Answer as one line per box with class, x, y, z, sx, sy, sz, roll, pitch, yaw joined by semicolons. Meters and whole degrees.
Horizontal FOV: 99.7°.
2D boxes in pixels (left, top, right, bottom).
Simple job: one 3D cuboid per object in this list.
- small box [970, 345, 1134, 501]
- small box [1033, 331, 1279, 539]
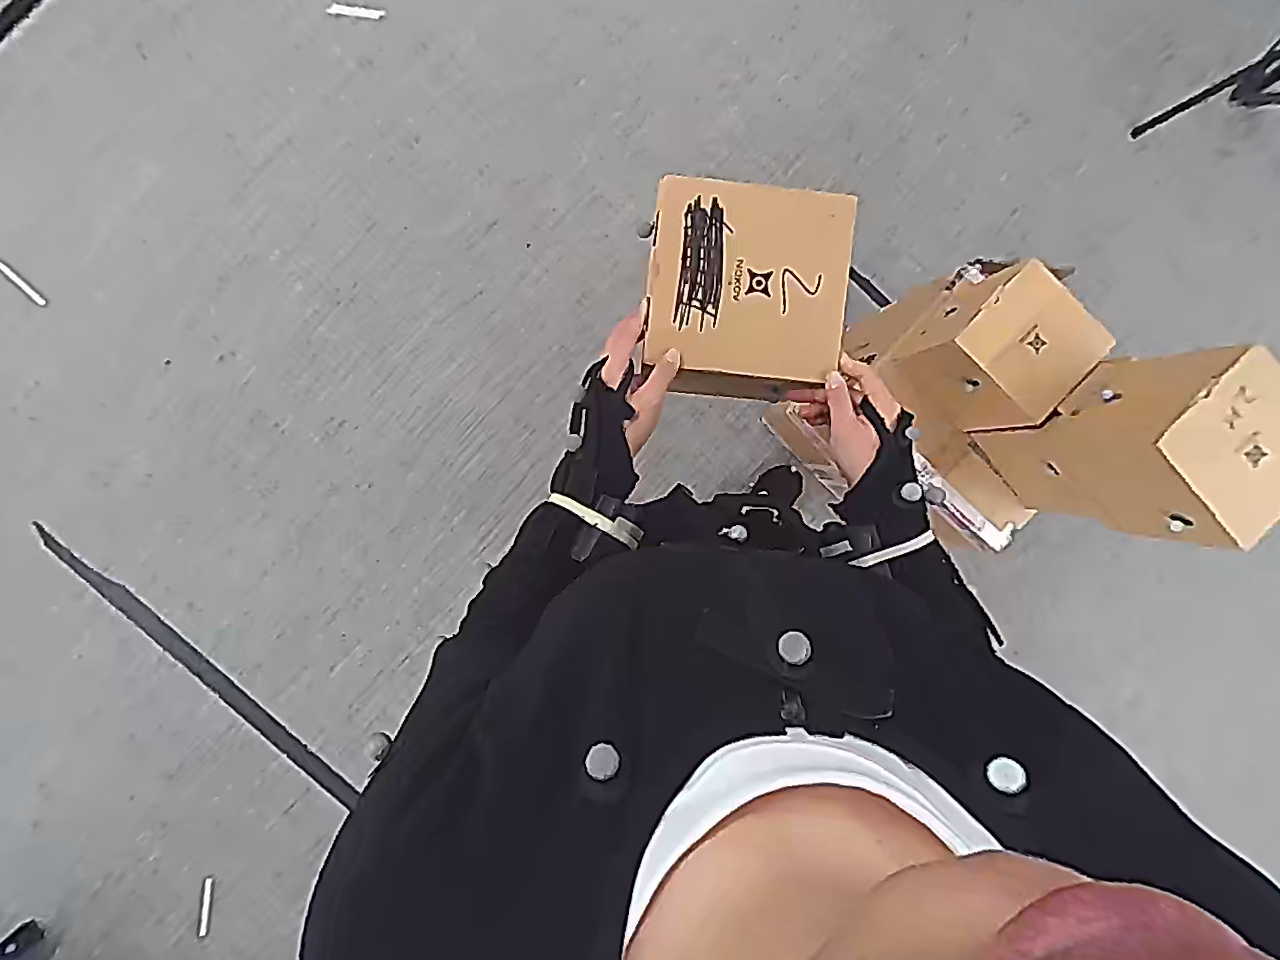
small box;0.668;-0.078;0.840;0.168;0.176;0.179;-42;95;0
small box;0.658;-0.055;0.675;0.179;0.176;0.168;45;89;-5
